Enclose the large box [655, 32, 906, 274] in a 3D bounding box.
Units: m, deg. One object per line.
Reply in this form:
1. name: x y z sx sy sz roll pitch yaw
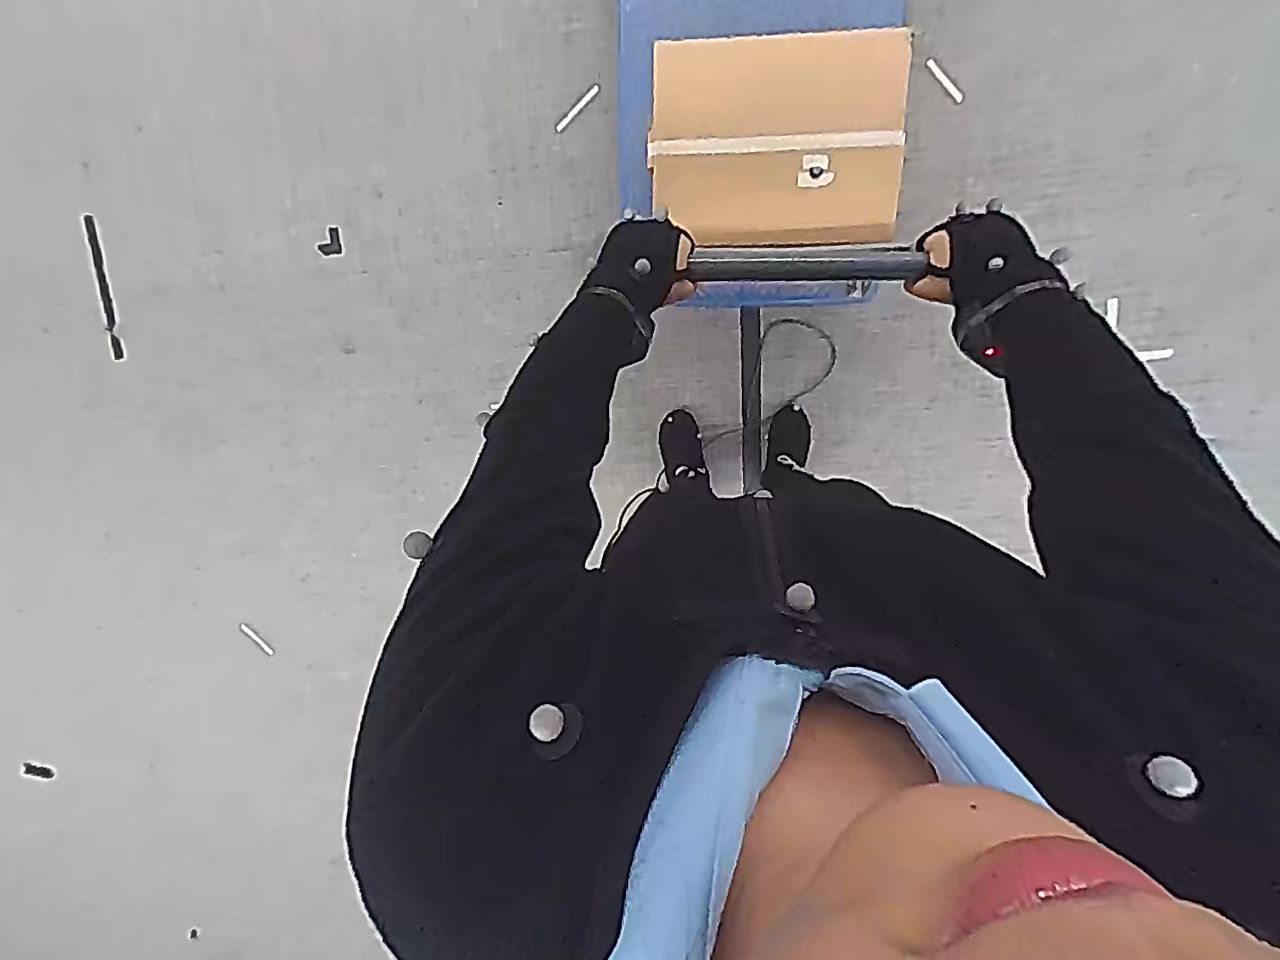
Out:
1. large box: 0.238 -0.591 1.047 0.408 0.320 0.320 1 103 5
